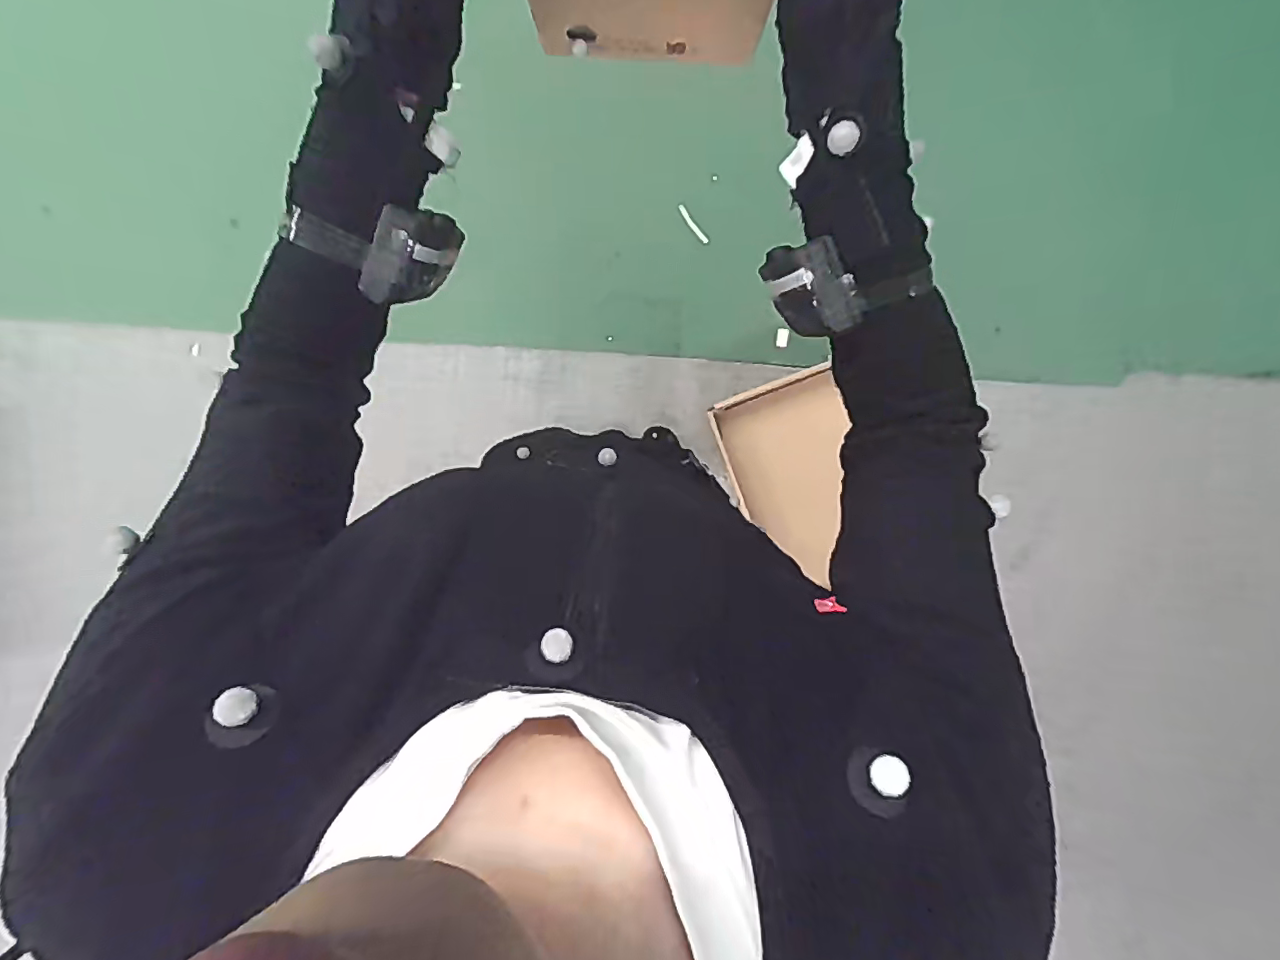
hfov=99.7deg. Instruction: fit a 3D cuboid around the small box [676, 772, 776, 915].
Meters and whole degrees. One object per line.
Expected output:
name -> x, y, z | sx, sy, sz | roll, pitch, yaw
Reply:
small box -> 0.172, 0.755, 1.141 | 0.168, 0.176, 0.179 | 11, 95, 0
